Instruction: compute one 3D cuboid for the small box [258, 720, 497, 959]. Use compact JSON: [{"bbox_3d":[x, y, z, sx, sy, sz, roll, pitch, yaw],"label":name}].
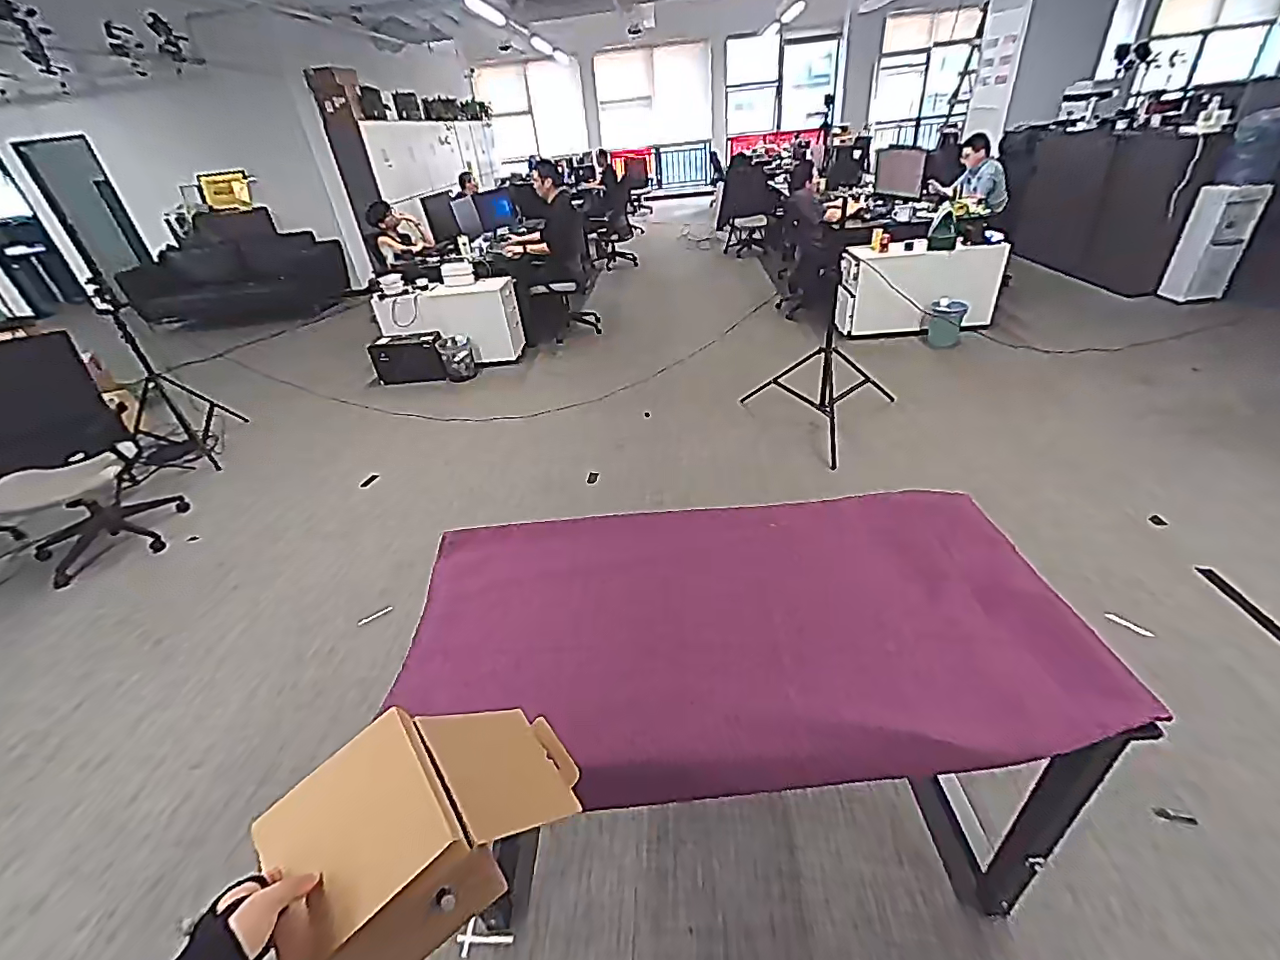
[{"bbox_3d":[-0.274,0.414,0.597,0.179,0.176,0.168,-29,47,-26],"label":"small box"}]
